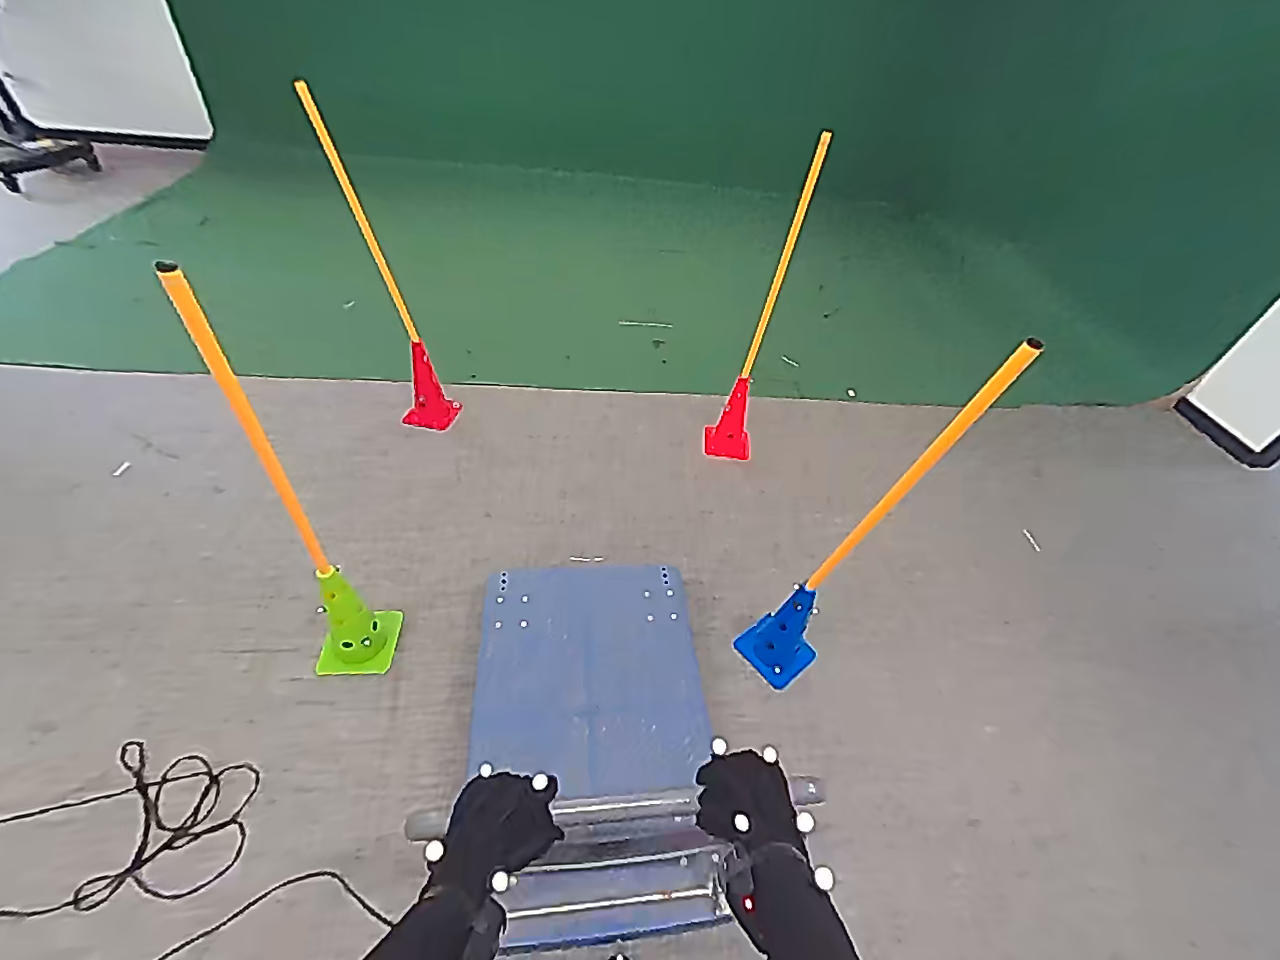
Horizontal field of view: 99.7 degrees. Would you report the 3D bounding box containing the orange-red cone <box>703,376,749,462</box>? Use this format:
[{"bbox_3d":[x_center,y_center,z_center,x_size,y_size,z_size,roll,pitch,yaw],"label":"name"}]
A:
[{"bbox_3d":[0.396,-0.277,2.271,0.198,0.360,0.199,9,45,2],"label":"orange-red cone"}]
